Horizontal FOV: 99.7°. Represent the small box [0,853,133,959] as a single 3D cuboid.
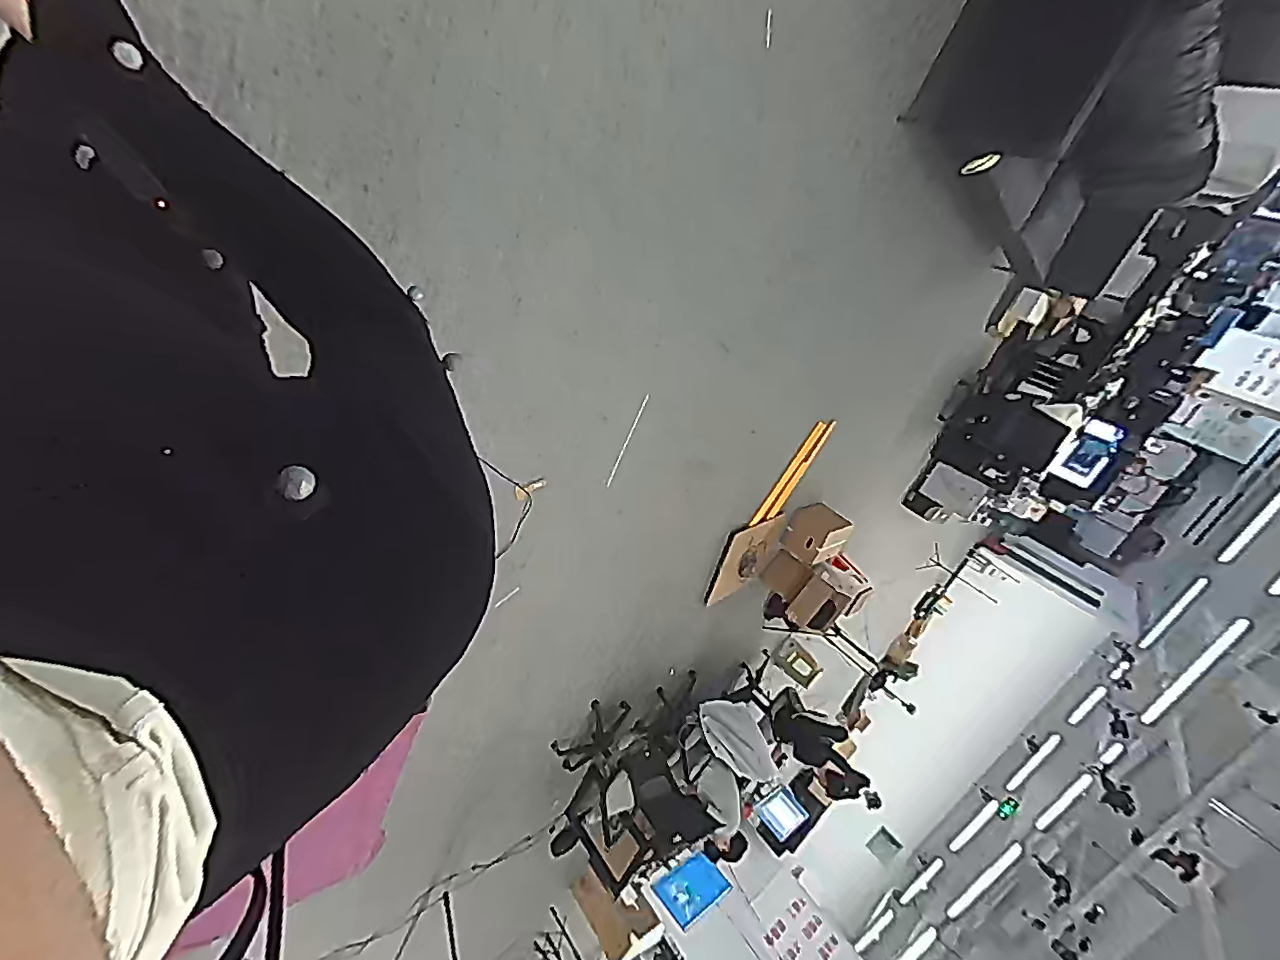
[{"bbox_3d":[-1.002,0.807,0.942,0.168,0.176,0.179,-4,124,-46],"label":"small box"}]
